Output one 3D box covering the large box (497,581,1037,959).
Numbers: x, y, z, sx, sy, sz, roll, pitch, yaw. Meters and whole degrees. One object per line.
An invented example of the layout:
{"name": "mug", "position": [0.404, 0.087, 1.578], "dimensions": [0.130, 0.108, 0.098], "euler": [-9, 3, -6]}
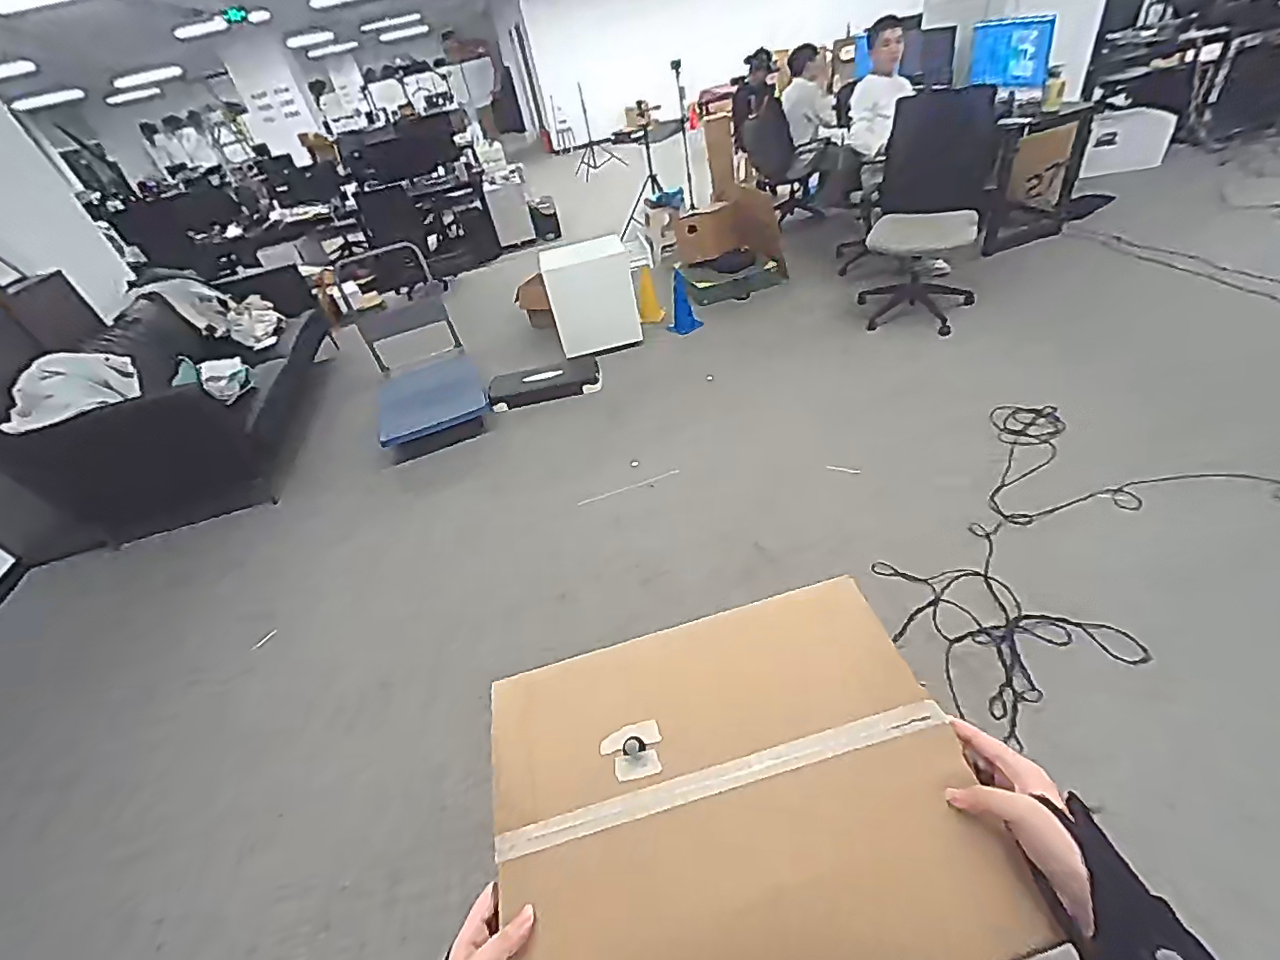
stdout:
{"name": "large box", "position": [0.100, 0.373, 0.594], "dimensions": [0.408, 0.320, 0.320], "euler": [-18, 45, 0]}
